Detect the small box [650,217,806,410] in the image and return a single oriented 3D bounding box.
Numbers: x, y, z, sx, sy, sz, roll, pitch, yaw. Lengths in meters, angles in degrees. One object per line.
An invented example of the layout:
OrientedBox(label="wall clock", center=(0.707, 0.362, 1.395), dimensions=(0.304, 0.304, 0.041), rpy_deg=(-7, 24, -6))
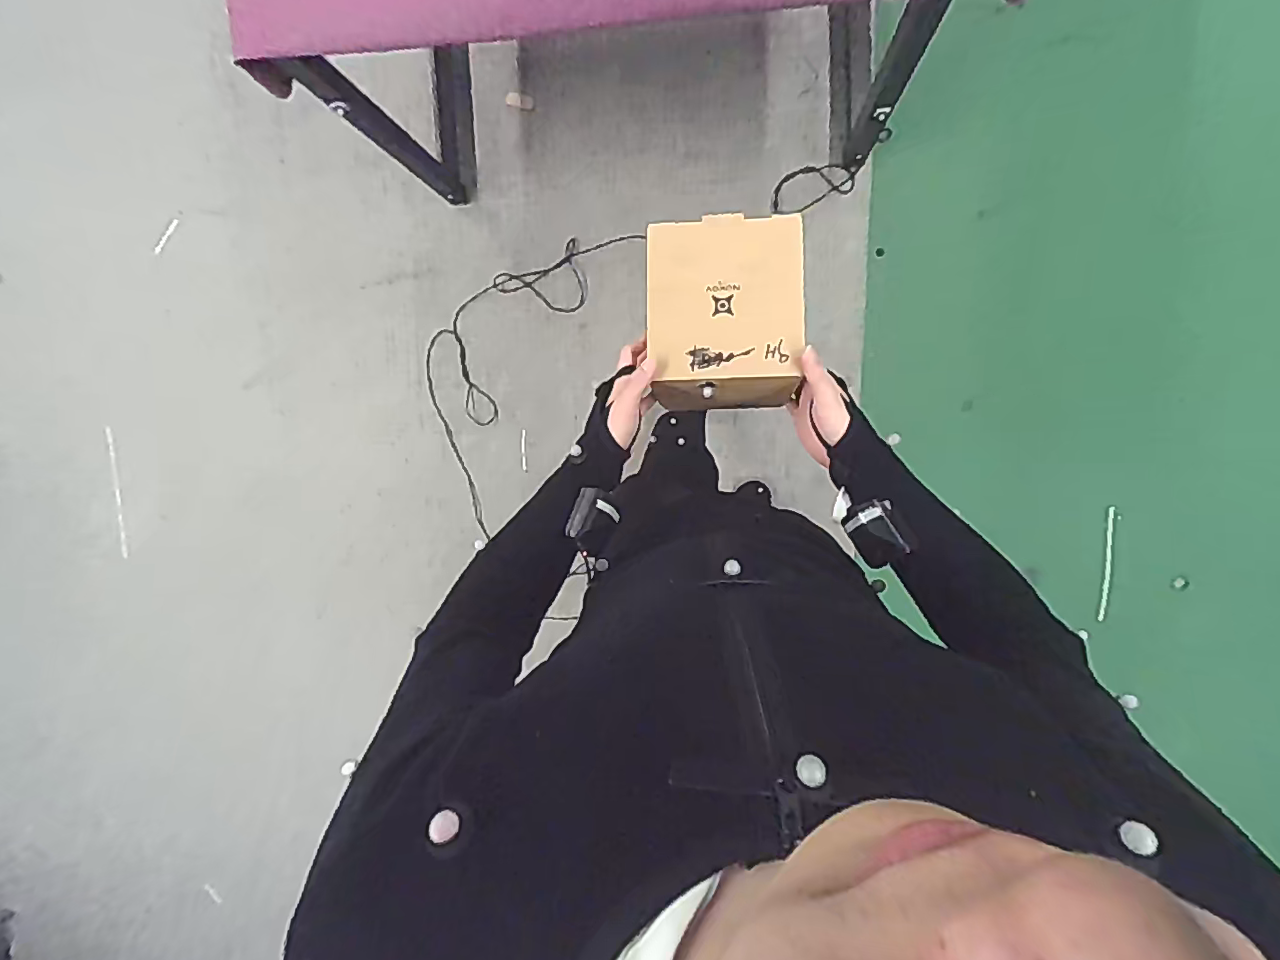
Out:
OrientedBox(label="small box", center=(0.101, -0.187, 0.653), dimensions=(0.168, 0.176, 0.179), rpy_deg=(0, 87, 7))
